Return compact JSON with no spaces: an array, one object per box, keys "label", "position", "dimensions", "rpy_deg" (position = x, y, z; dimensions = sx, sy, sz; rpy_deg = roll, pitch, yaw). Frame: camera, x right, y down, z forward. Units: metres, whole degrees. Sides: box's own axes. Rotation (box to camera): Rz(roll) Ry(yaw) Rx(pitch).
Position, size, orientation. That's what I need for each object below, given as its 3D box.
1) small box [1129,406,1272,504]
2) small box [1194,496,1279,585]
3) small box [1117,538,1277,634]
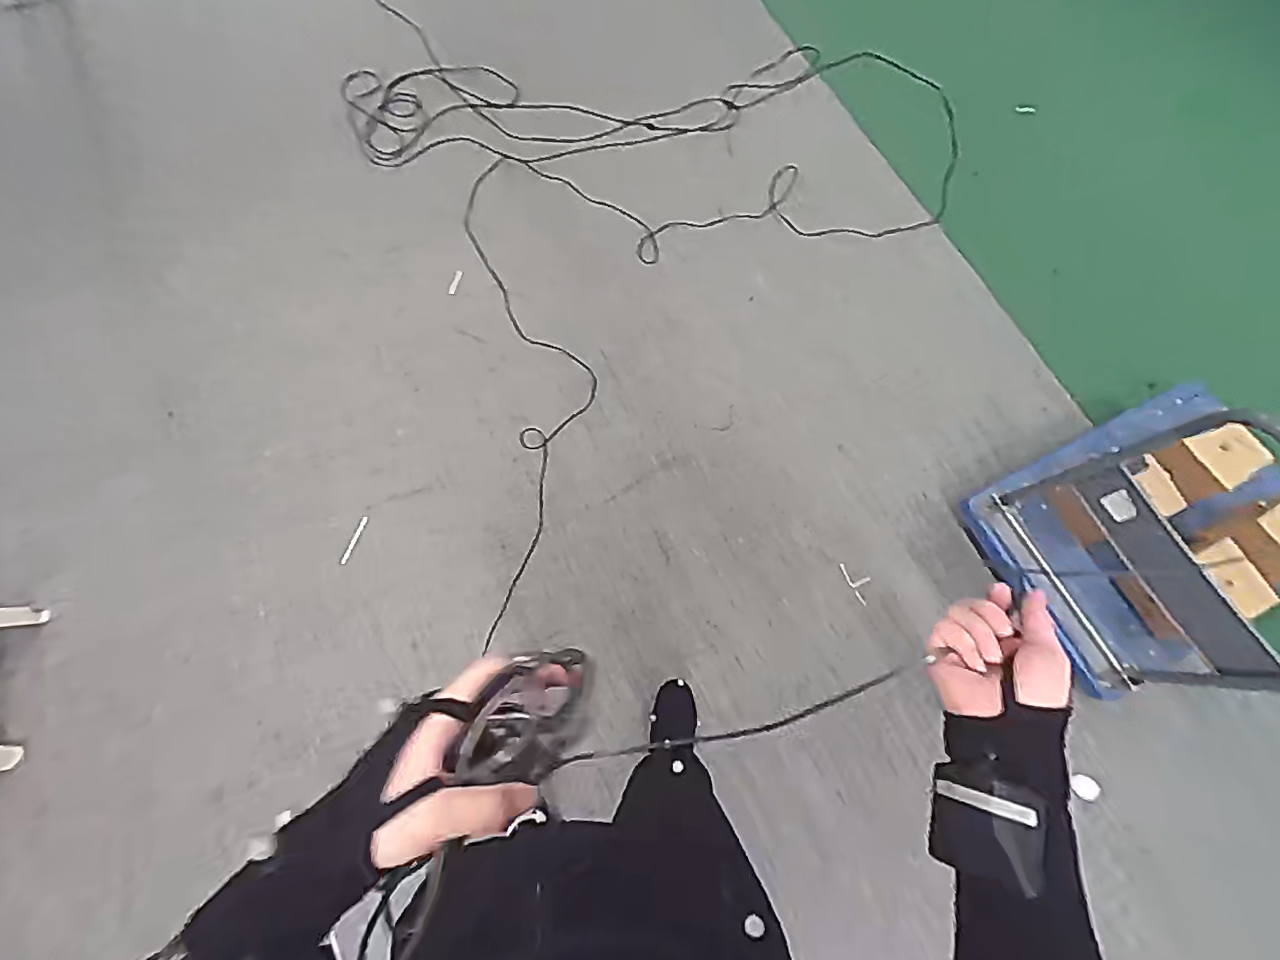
[{"label":"small box","position":[1.447,-0.058,1.415],"dimensions":[0.179,0.176,0.168],"rpy_deg":[-28,76,-11]},{"label":"small box","position":[1.573,0.150,1.352],"dimensions":[0.179,0.176,0.168],"rpy_deg":[-28,75,-10]},{"label":"small box","position":[1.331,0.260,1.307],"dimensions":[0.179,0.176,0.168],"rpy_deg":[-24,75,-9]}]
